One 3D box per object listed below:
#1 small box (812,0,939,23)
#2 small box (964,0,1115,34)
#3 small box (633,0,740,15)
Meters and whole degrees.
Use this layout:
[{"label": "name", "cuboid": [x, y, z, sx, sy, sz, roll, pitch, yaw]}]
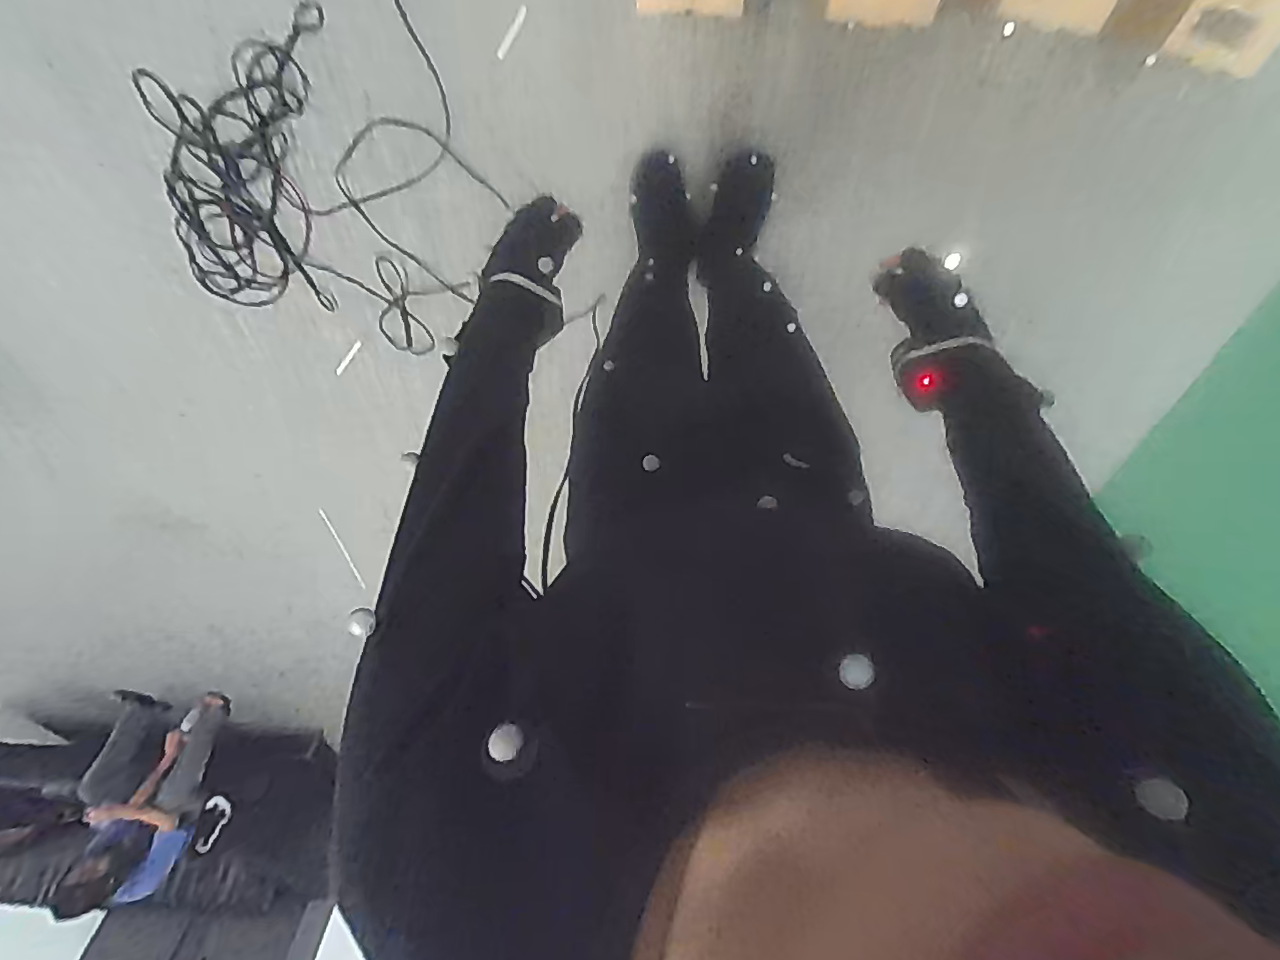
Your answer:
[{"label": "small box", "cuboid": [0.370, -0.816, 0.820, 0.168, 0.176, 0.179, 4, 134, 1]}, {"label": "small box", "cuboid": [0.626, -0.803, 0.808, 0.168, 0.176, 0.179, 10, 133, -4]}, {"label": "small box", "cuboid": [0.080, -0.833, 0.826, 0.168, 0.176, 0.179, 3, 132, 2]}]
